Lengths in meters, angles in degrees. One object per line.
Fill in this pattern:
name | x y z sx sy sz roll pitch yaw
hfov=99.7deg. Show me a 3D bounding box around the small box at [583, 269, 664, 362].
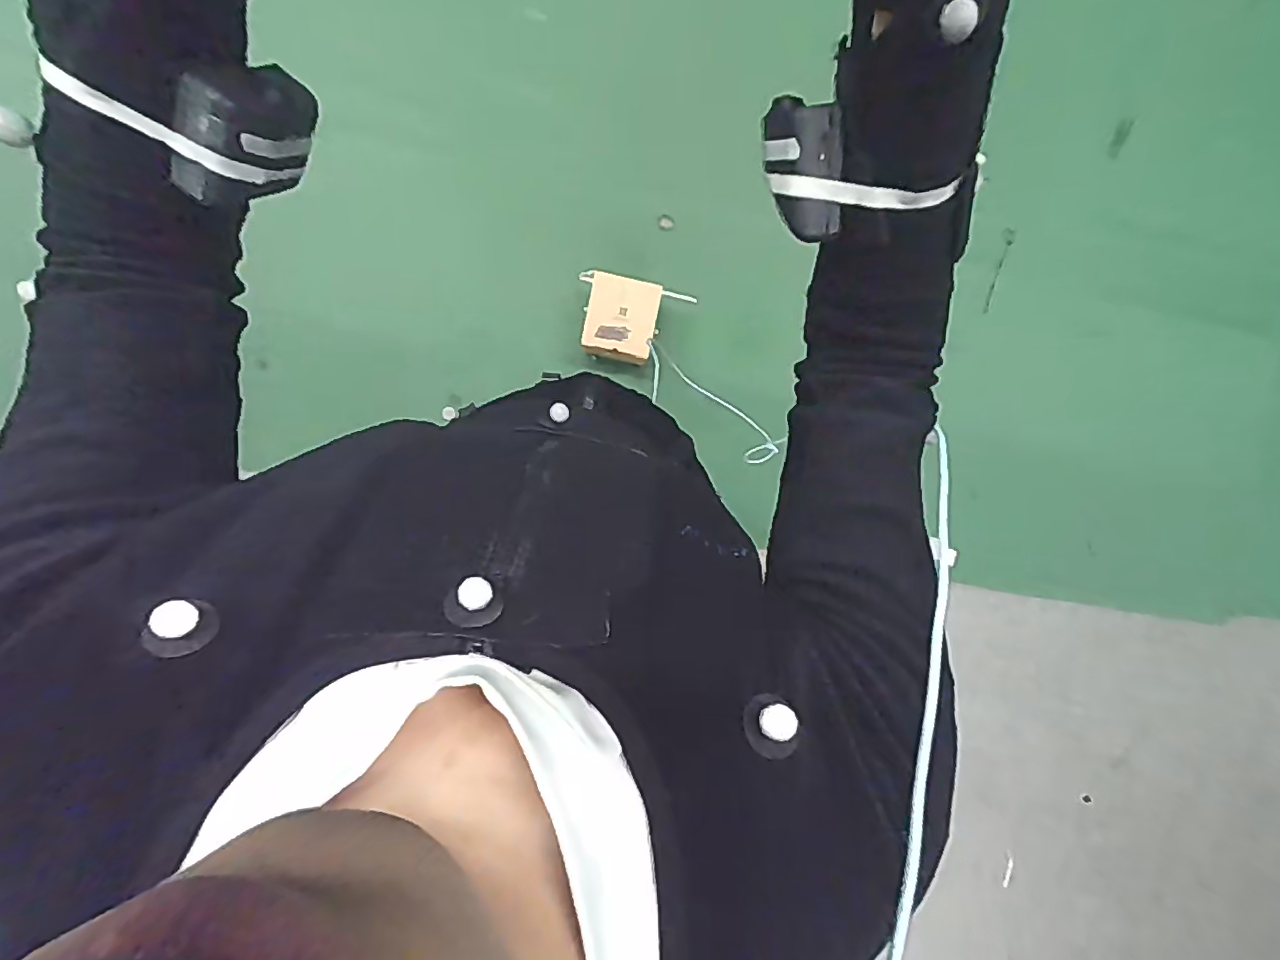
small box | -0.043 -0.402 1.355 0.168 0.176 0.179 12 95 -5
